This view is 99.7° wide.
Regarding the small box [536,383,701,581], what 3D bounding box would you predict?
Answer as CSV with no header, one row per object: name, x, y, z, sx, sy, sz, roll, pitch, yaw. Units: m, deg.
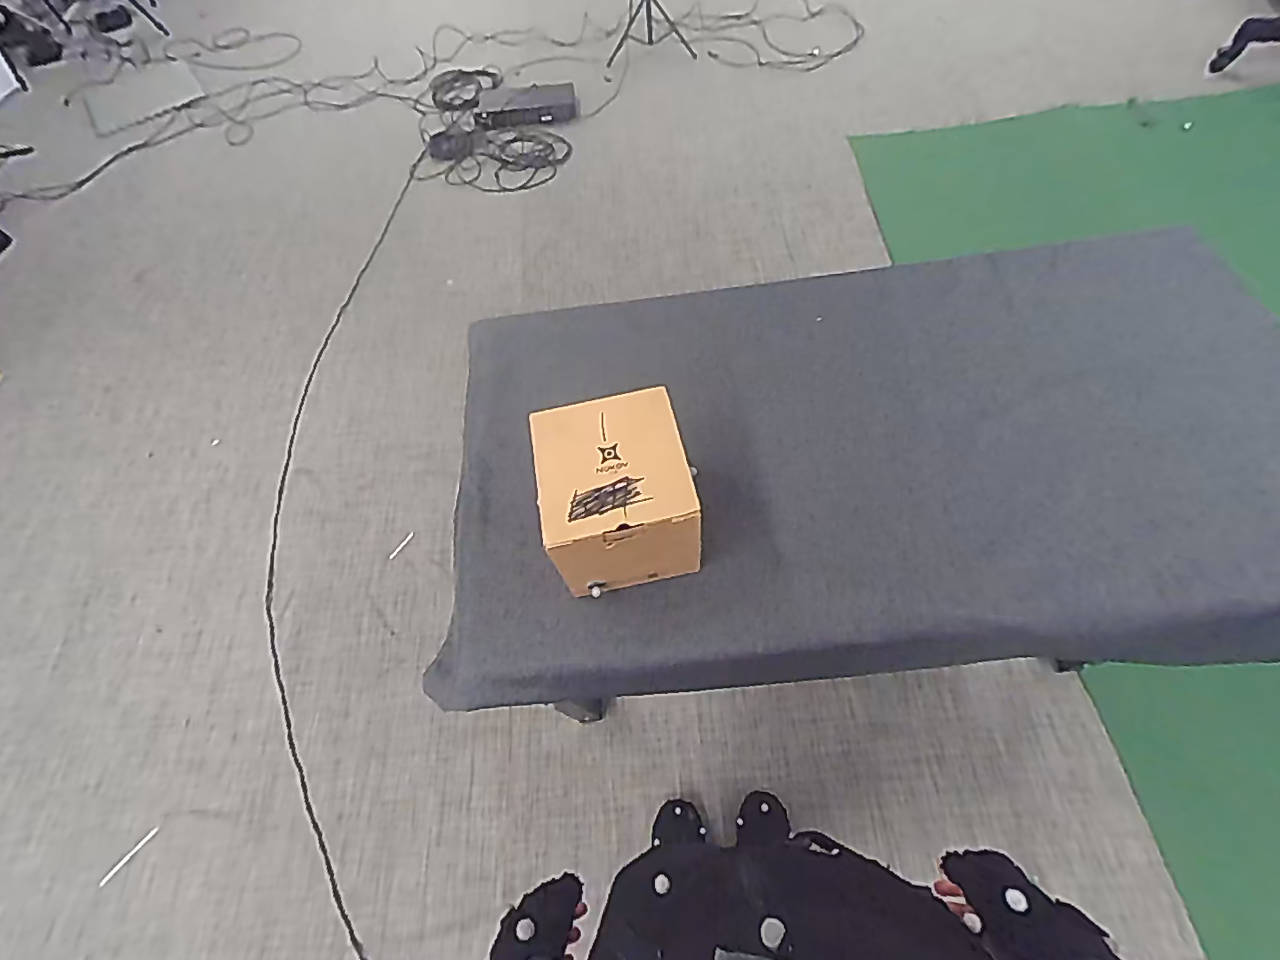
small box,-0.021,0.013,0.667,0.168,0.176,0.179,-12,59,-1
